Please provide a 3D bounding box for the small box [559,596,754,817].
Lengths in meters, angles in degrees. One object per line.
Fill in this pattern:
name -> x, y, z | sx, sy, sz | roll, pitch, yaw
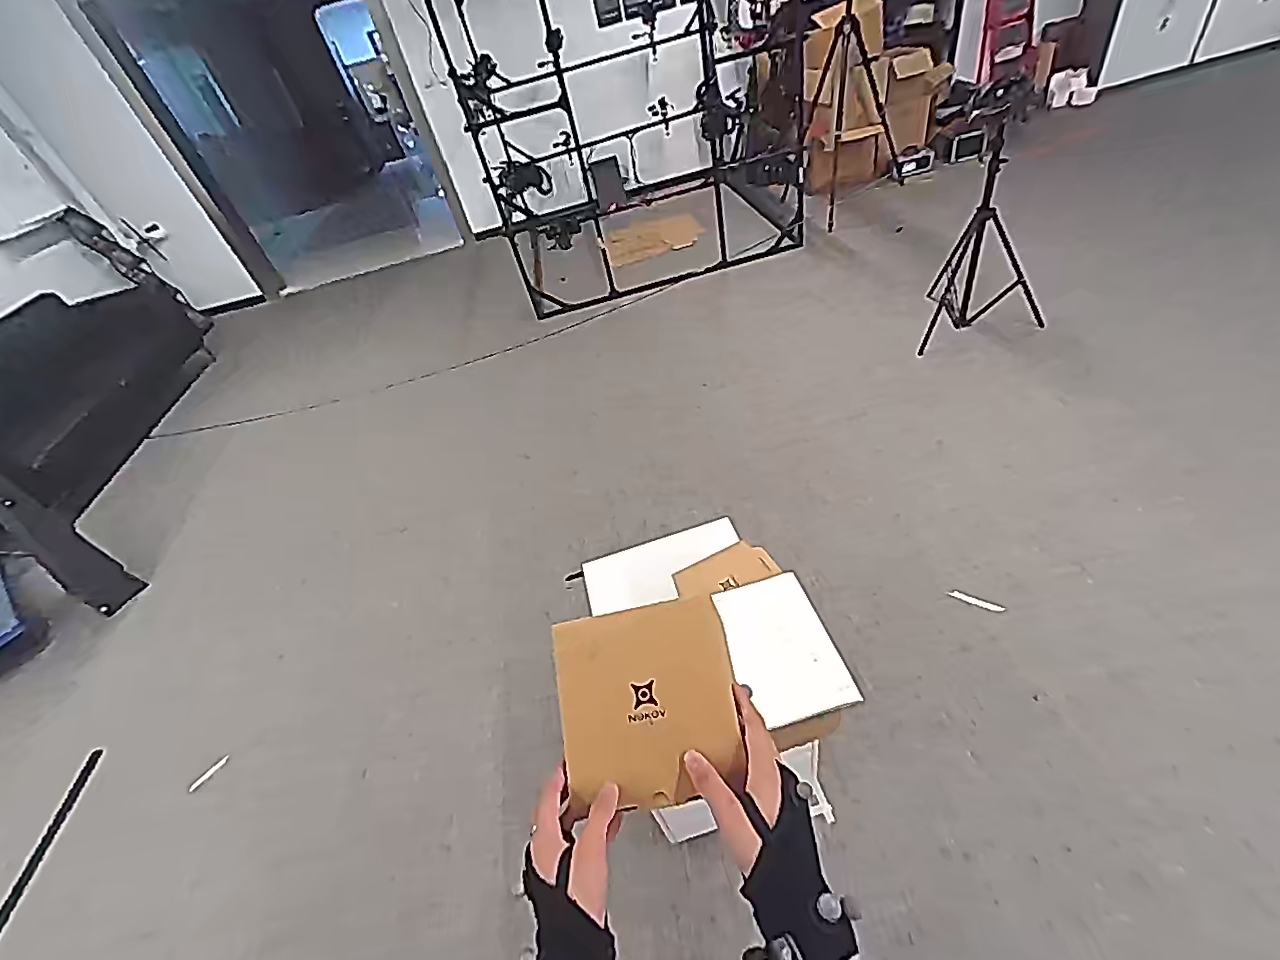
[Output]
small box -> 0.021, 0.241, 0.583 | 0.168, 0.176, 0.179 | -13, 66, 6
